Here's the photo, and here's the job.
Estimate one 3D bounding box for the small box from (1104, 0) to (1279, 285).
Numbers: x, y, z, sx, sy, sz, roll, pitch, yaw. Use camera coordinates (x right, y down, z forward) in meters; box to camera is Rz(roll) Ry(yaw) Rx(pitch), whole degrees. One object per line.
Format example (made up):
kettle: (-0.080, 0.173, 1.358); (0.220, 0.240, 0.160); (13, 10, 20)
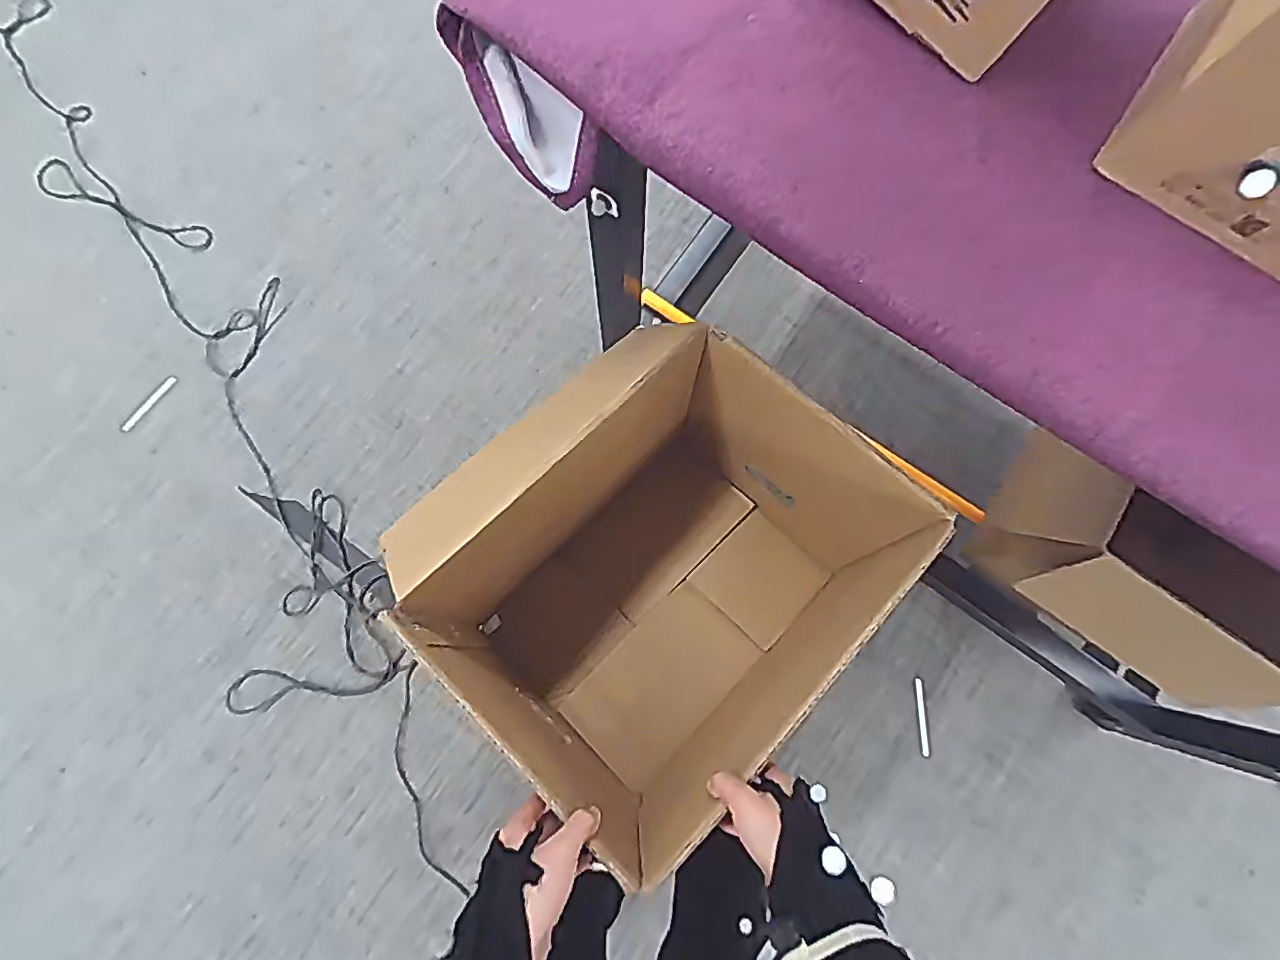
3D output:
small box: (0.449, -0.262, 0.330); (0.168, 0.176, 0.179); (35, 81, 5)
